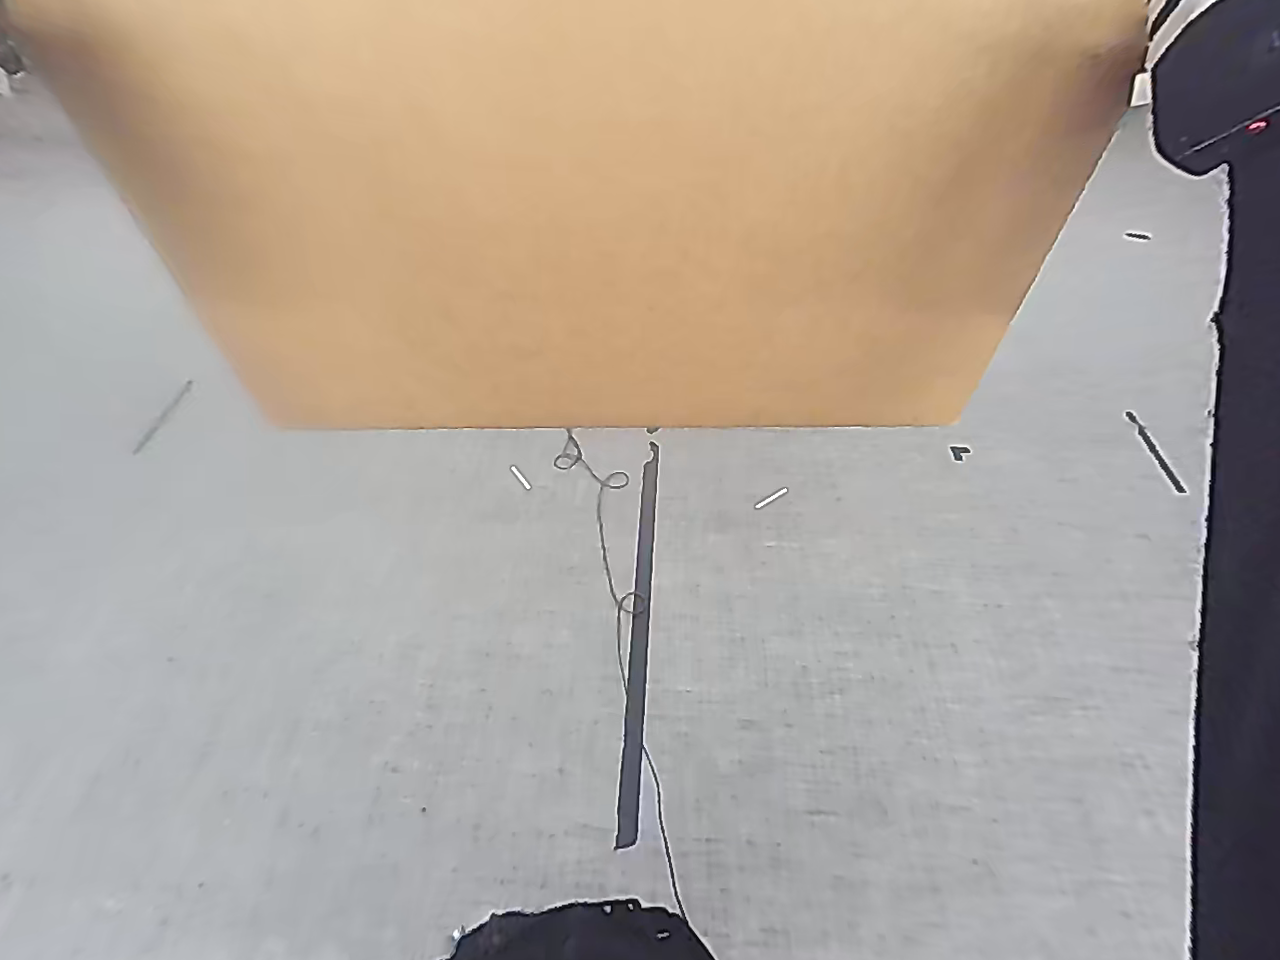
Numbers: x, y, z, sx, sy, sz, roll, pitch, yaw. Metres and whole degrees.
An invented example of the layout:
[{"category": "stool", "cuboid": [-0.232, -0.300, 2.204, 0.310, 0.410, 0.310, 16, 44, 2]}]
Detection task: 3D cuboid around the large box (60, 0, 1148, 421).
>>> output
[{"category": "large box", "cuboid": [-0.014, -0.247, 0.327, 0.408, 0.320, 0.320, 0, 46, -1]}]
